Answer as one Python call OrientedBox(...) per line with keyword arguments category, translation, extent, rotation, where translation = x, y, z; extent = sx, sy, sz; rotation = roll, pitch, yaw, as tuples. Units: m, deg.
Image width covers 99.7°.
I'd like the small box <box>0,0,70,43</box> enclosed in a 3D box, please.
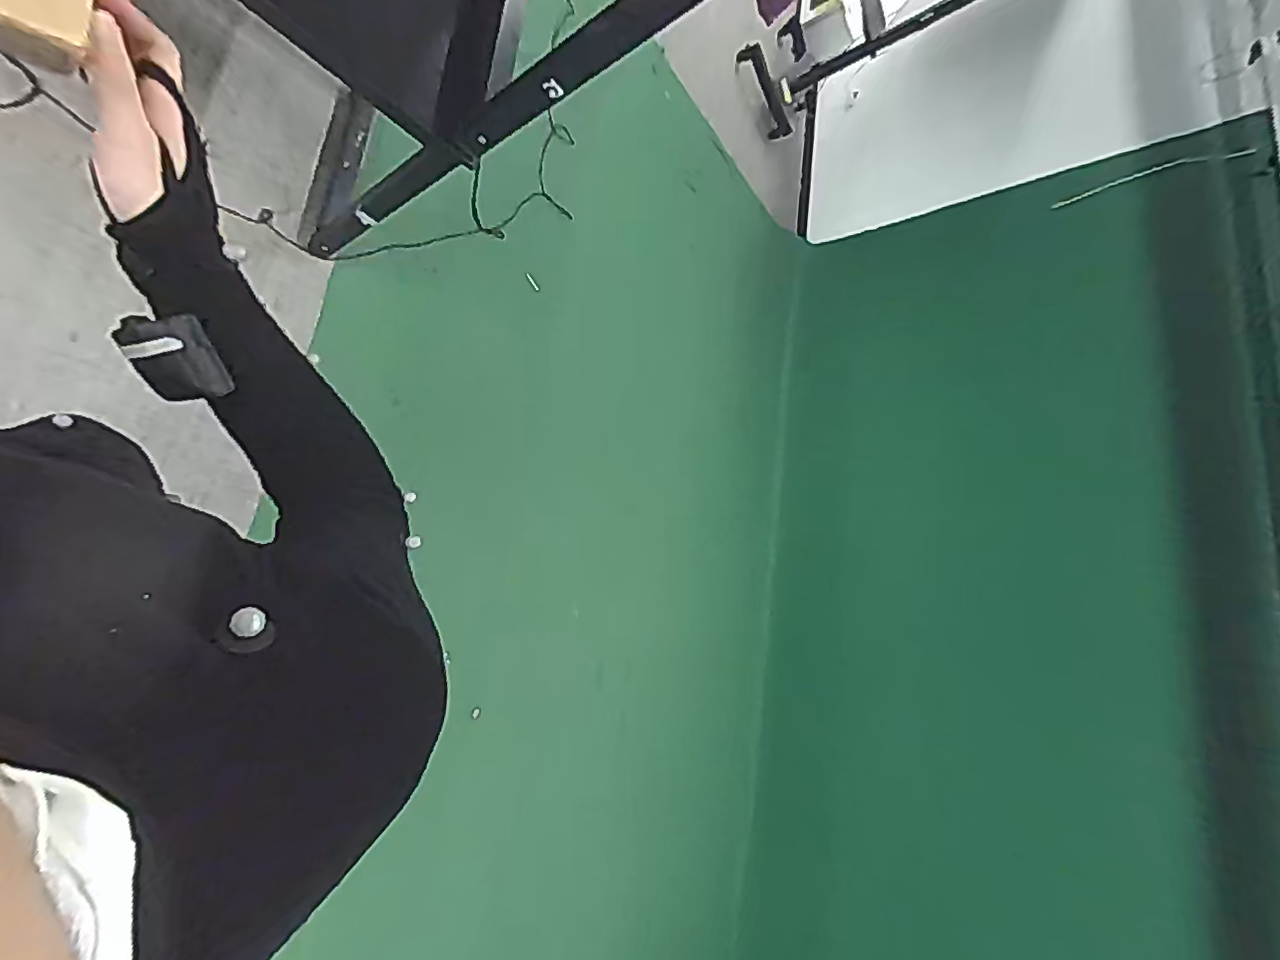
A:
OrientedBox(category="small box", translation=(-0.363, -0.339, 0.239), extent=(0.168, 0.176, 0.179), rotation=(5, 109, -51))
